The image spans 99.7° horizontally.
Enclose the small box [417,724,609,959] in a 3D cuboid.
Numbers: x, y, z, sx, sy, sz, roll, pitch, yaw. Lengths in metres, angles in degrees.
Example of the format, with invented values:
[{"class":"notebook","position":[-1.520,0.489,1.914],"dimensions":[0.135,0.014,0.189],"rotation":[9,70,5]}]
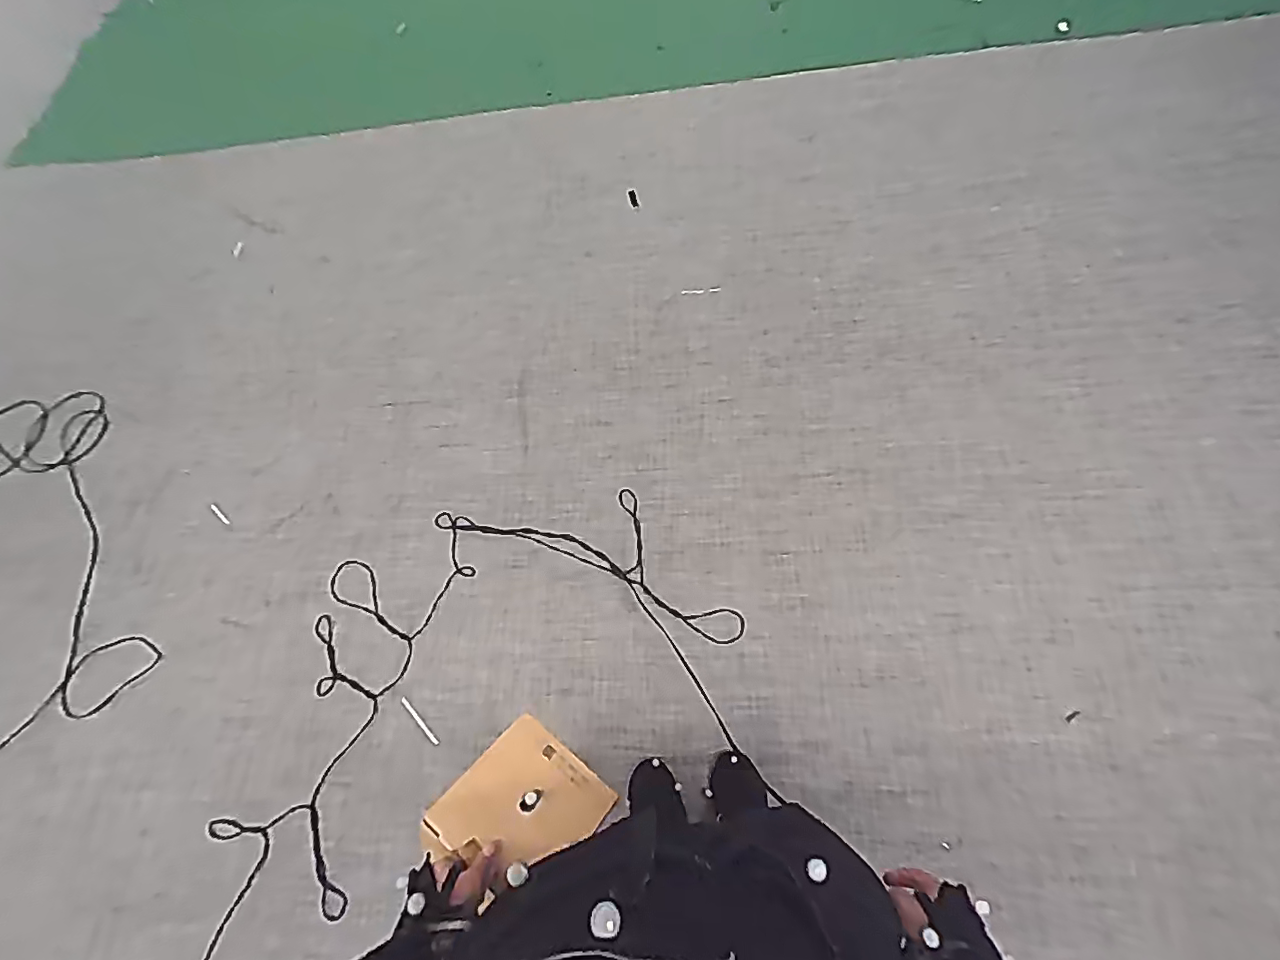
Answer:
[{"class":"small box","position":[-0.162,0.457,0.698],"dimensions":[0.168,0.179,0.176],"rotation":[34,41,16]}]
